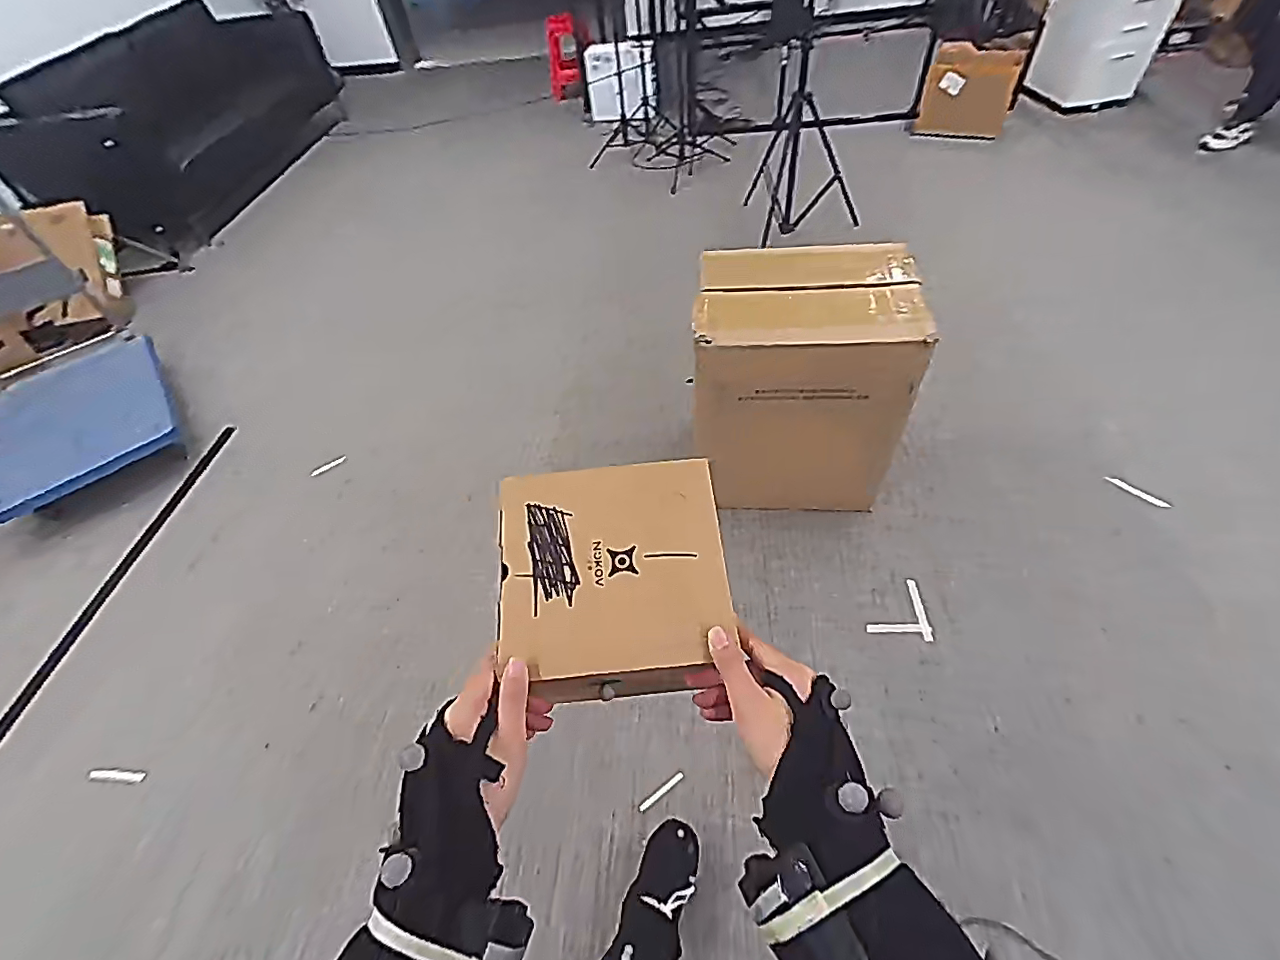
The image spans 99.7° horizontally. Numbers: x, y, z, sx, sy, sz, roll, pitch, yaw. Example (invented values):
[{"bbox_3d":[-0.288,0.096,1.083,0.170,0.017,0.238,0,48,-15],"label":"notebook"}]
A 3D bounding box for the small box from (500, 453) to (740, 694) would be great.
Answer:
[{"bbox_3d":[-0.018,0.094,0.491,0.179,0.176,0.168,-5,63,-2],"label":"small box"}]
